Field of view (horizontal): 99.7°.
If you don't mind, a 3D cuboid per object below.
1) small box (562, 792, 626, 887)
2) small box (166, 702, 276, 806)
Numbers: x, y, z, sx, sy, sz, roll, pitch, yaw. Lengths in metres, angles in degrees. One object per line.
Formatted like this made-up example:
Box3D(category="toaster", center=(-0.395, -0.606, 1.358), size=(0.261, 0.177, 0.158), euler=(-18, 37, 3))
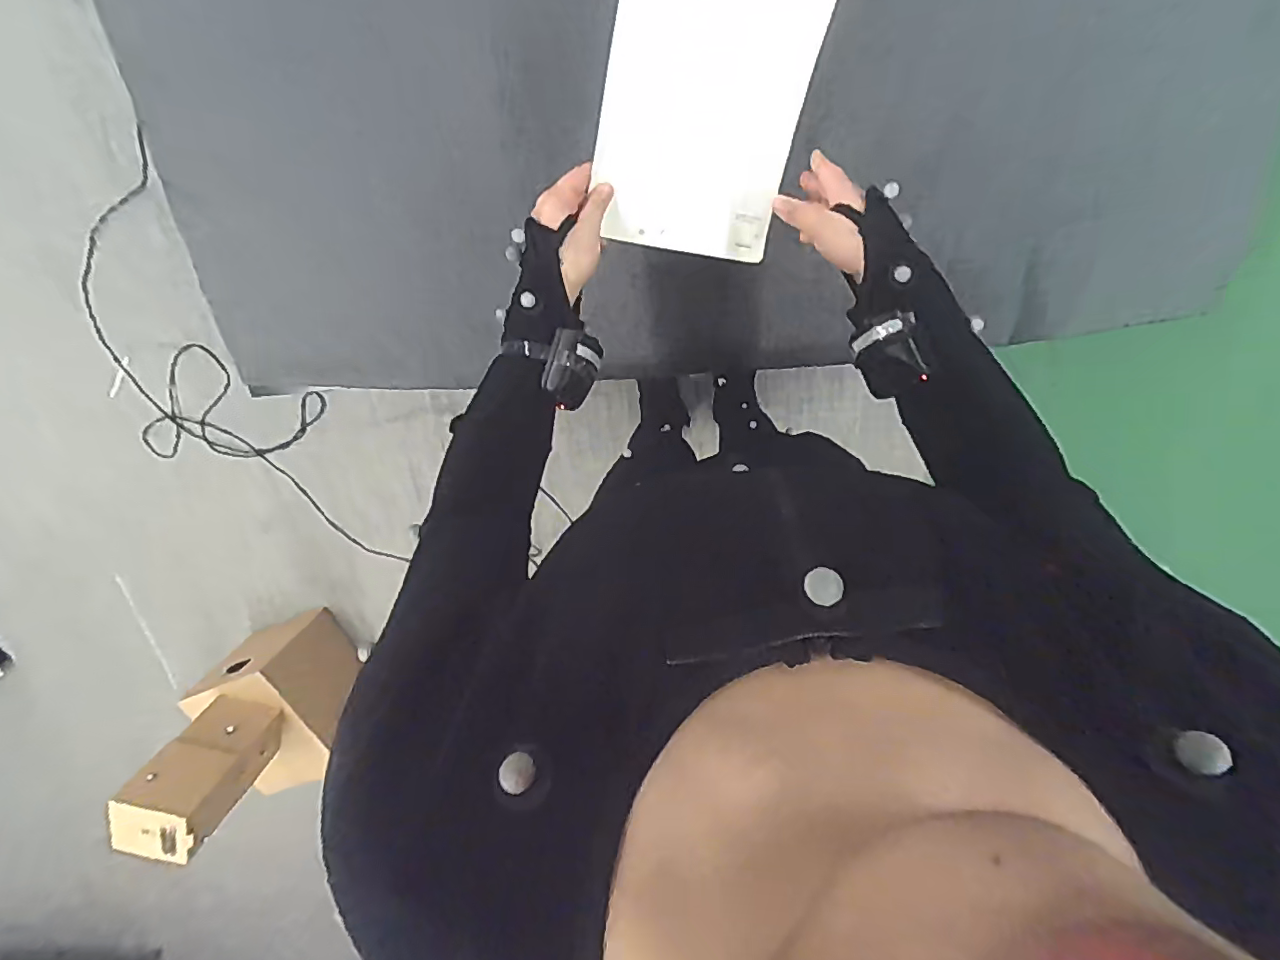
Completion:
Box3D(category="small box", center=(-0.137, 1.098, 1.662), size=(0.168, 0.176, 0.179), euler=(7, 111, 4))
Box3D(category="small box", center=(-1.115, 0.727, 1.450), size=(0.179, 0.176, 0.168), euler=(16, 110, -5))
